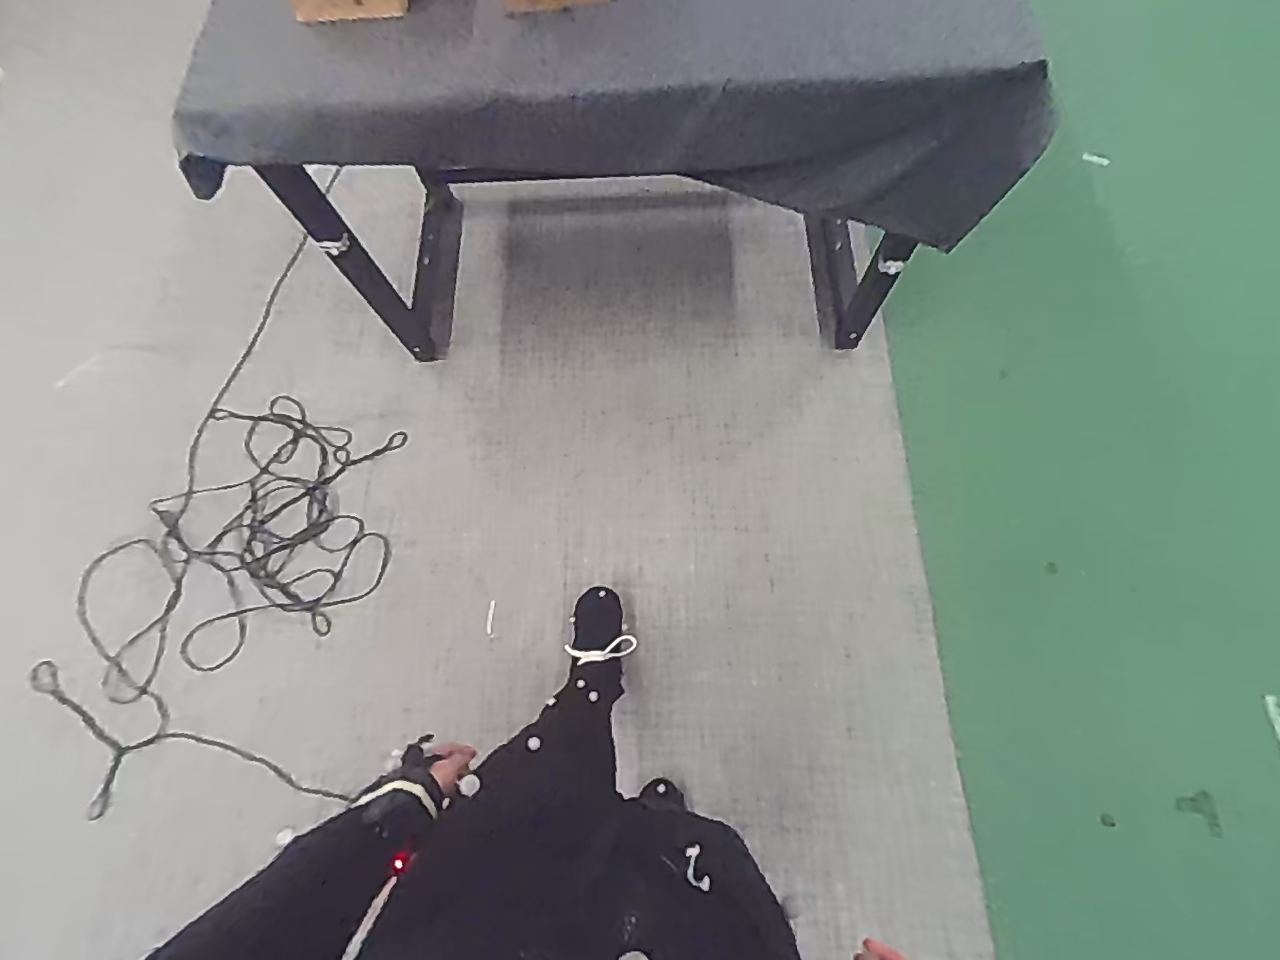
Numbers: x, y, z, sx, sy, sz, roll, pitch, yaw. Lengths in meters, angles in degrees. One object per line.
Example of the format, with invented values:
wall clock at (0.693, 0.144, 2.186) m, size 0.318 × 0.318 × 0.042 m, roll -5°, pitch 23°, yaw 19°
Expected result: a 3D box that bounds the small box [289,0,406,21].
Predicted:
small box at (-0.439, -0.791, 0.764) m, size 0.168 × 0.176 × 0.179 m, roll -3°, pitch 70°, yaw 1°
